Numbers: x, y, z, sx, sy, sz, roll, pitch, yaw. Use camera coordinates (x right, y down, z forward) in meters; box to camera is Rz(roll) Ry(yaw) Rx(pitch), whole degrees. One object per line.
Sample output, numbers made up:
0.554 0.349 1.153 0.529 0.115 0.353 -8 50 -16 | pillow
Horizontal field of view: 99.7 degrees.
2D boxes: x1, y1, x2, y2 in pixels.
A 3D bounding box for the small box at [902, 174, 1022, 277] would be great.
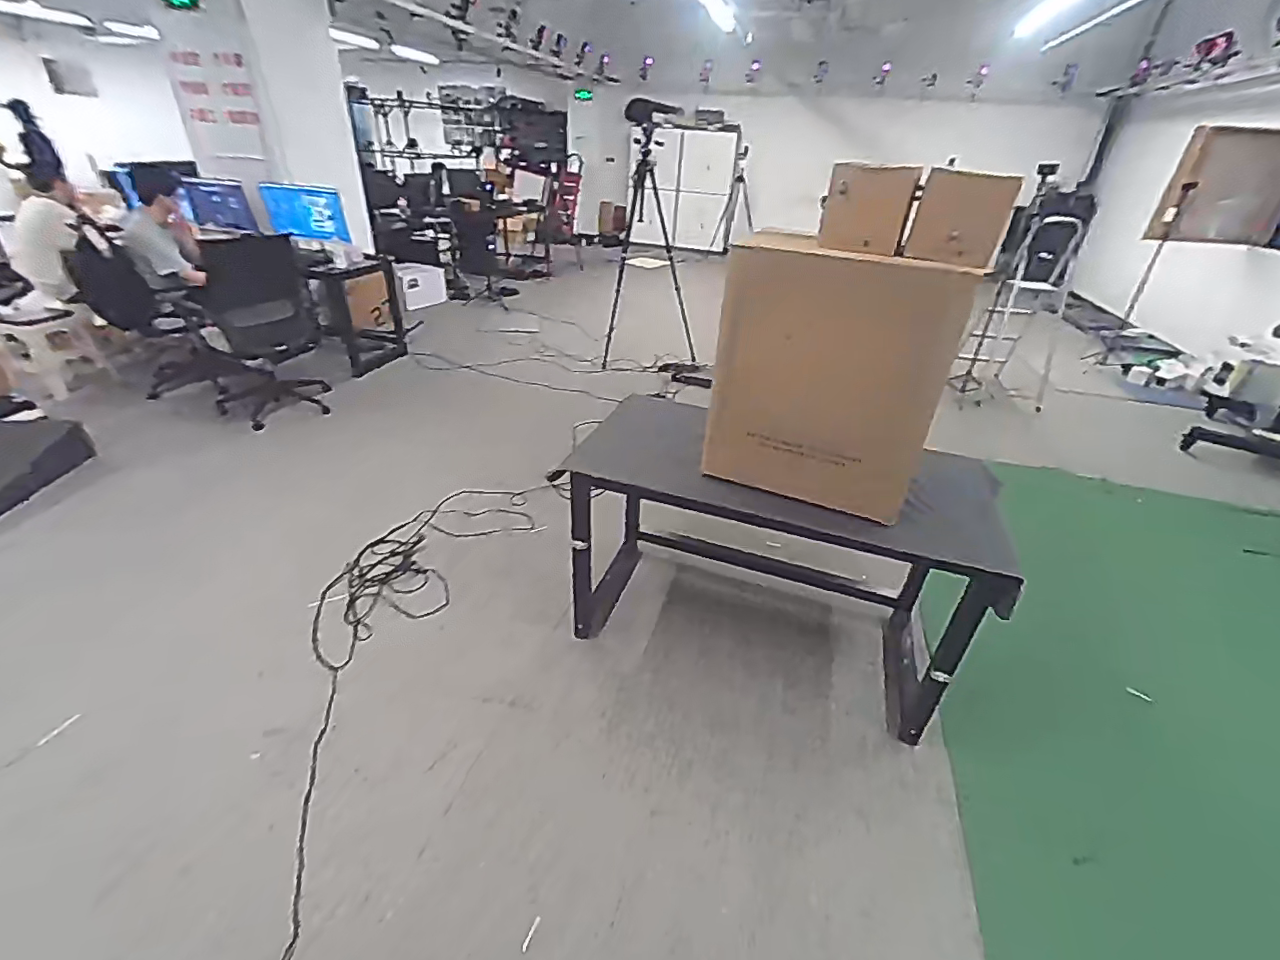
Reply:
0.672 -0.544 1.149 0.168 0.176 0.179 17 35 17 | small box
